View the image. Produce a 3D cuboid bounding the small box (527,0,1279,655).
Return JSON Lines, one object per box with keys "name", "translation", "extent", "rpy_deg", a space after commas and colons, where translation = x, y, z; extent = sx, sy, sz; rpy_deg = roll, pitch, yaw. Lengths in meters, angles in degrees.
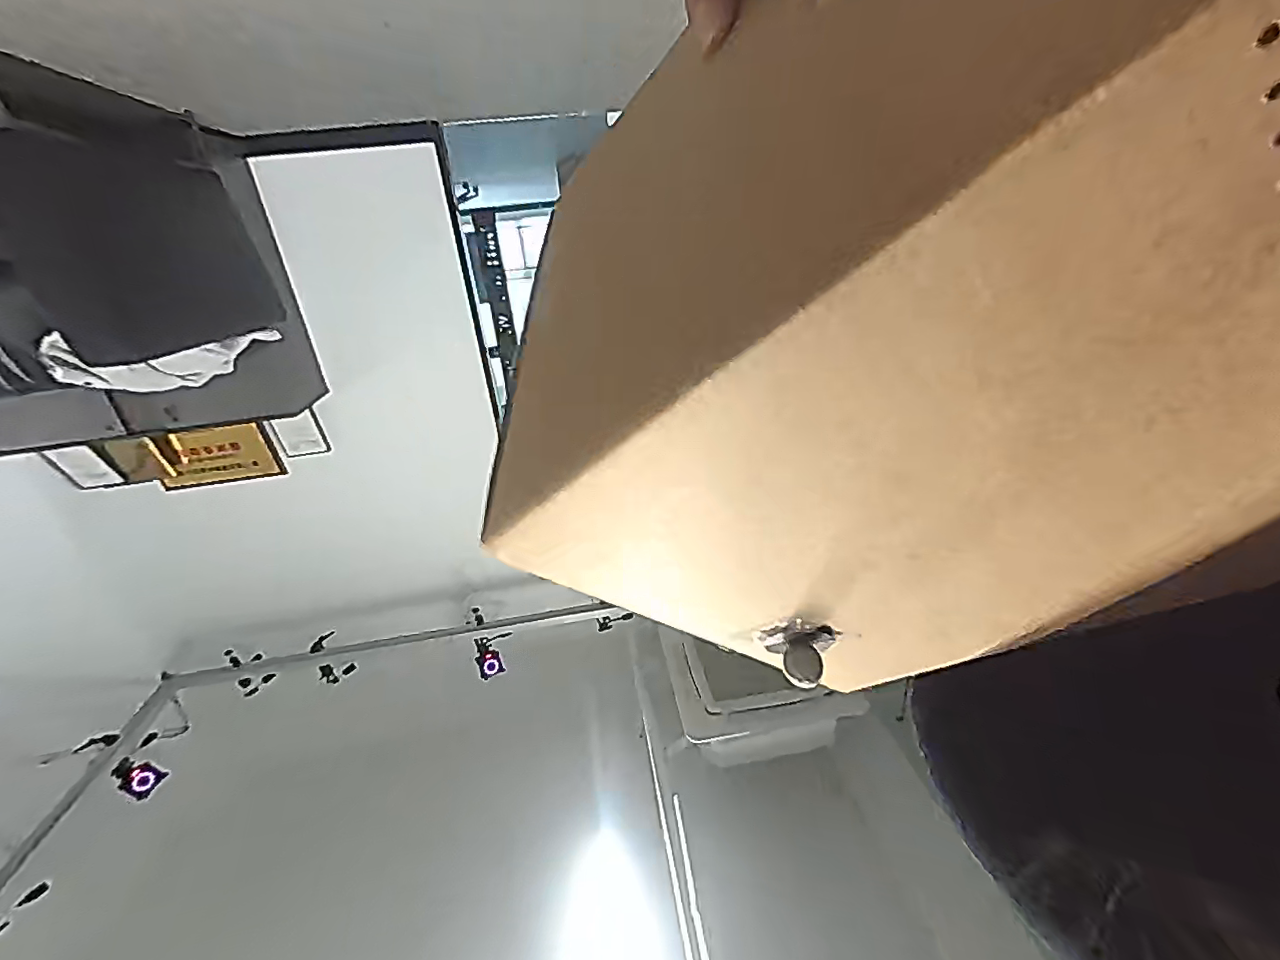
{"name": "small box", "translation": [0.085, -0.062, 0.184], "extent": [0.176, 0.168, 0.179], "rpy_deg": [-34, -138, 37]}
